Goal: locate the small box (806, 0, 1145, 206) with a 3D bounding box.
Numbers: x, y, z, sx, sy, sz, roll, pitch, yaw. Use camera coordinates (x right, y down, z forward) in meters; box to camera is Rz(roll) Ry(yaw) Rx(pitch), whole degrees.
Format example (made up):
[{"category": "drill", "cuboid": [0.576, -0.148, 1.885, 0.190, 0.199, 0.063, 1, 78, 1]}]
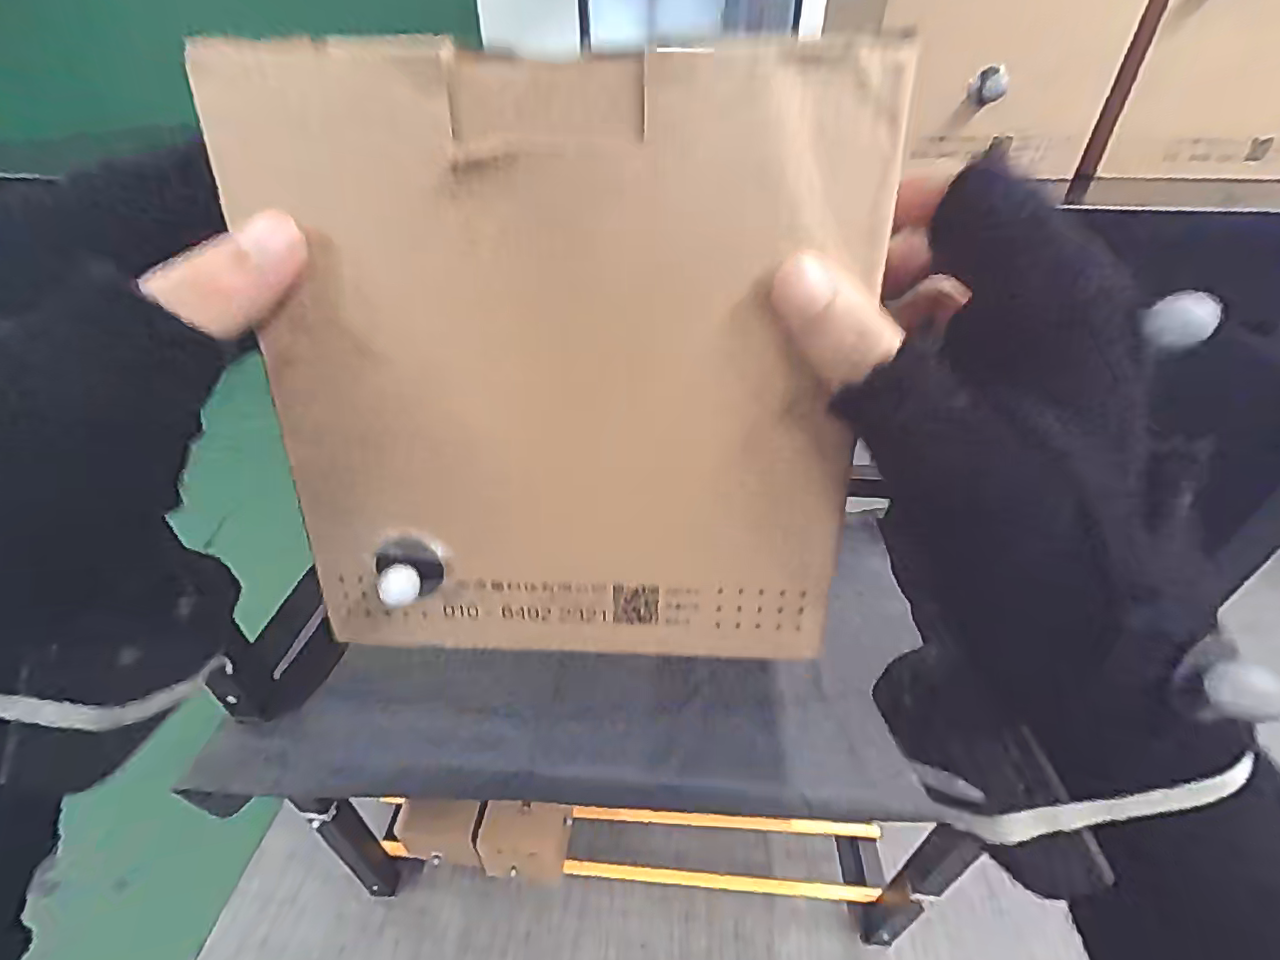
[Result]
[{"category": "small box", "cuboid": [0.242, -0.329, 0.431, 0.168, 0.176, 0.179, 2, 37, 2]}]
